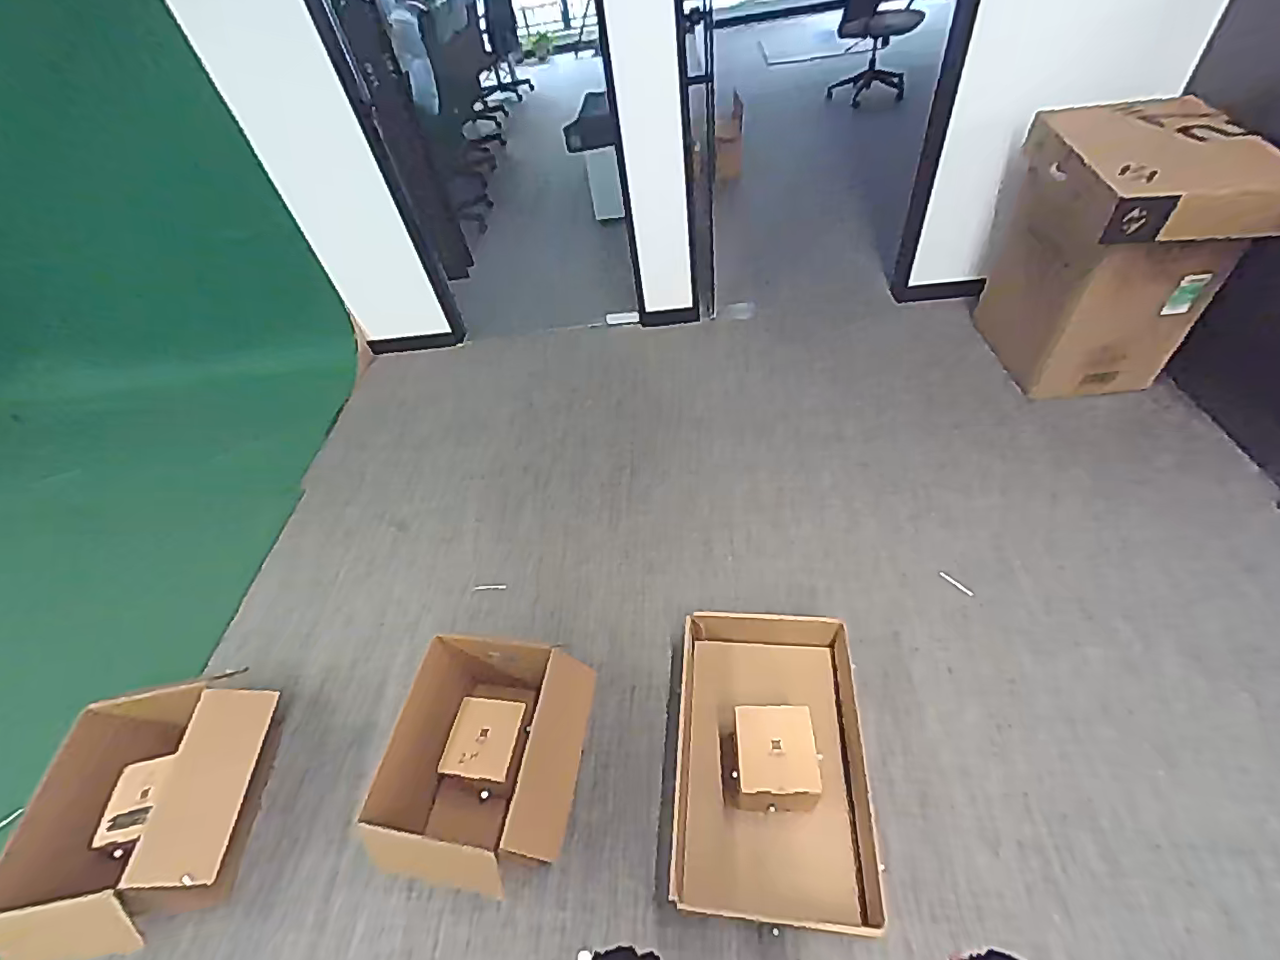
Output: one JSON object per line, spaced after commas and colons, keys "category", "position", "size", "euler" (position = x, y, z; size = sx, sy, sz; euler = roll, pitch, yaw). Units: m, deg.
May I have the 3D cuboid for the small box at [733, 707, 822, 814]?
{"category": "small box", "position": [0.298, 0.626, 1.207], "size": [0.168, 0.176, 0.179], "euler": [-3, 48, 6]}
